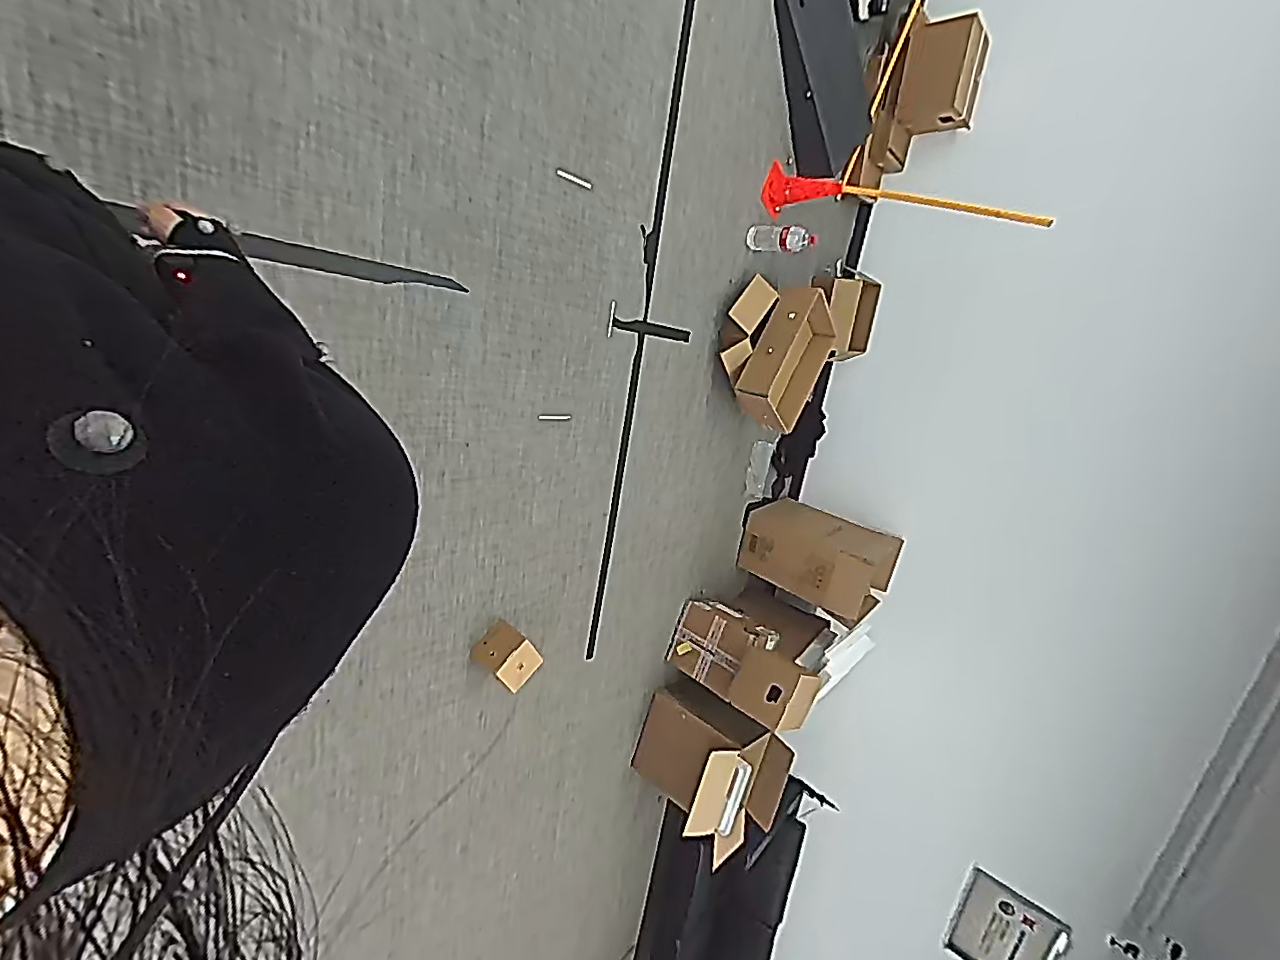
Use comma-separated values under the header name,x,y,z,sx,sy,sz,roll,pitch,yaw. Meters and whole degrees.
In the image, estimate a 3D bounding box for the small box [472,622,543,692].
name,x,y,z,sx,sy,sz,roll,pitch,yaw
small box,-0.517,0.679,2.098,0.168,0.176,0.179,-46,139,-26
